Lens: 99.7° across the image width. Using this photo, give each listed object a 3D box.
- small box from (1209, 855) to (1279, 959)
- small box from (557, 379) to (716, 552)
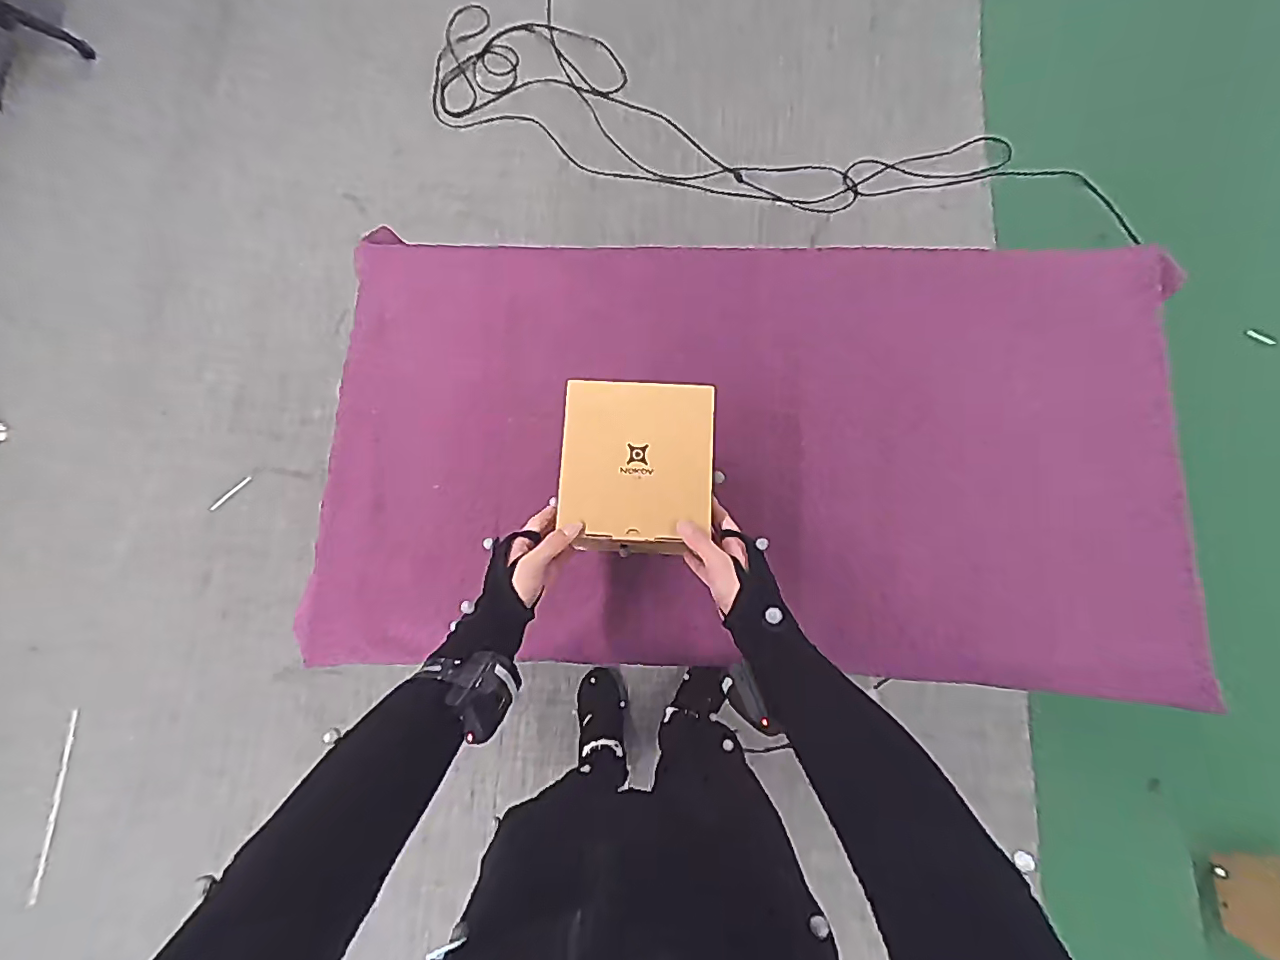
[{"bbox_3d":[1.406,0.947,1.177,0.179,0.176,0.168,1,79,2],"label":"small box"},{"bbox_3d":[-0.003,-0.008,0.664,0.168,0.176,0.179,3,80,0],"label":"small box"}]
